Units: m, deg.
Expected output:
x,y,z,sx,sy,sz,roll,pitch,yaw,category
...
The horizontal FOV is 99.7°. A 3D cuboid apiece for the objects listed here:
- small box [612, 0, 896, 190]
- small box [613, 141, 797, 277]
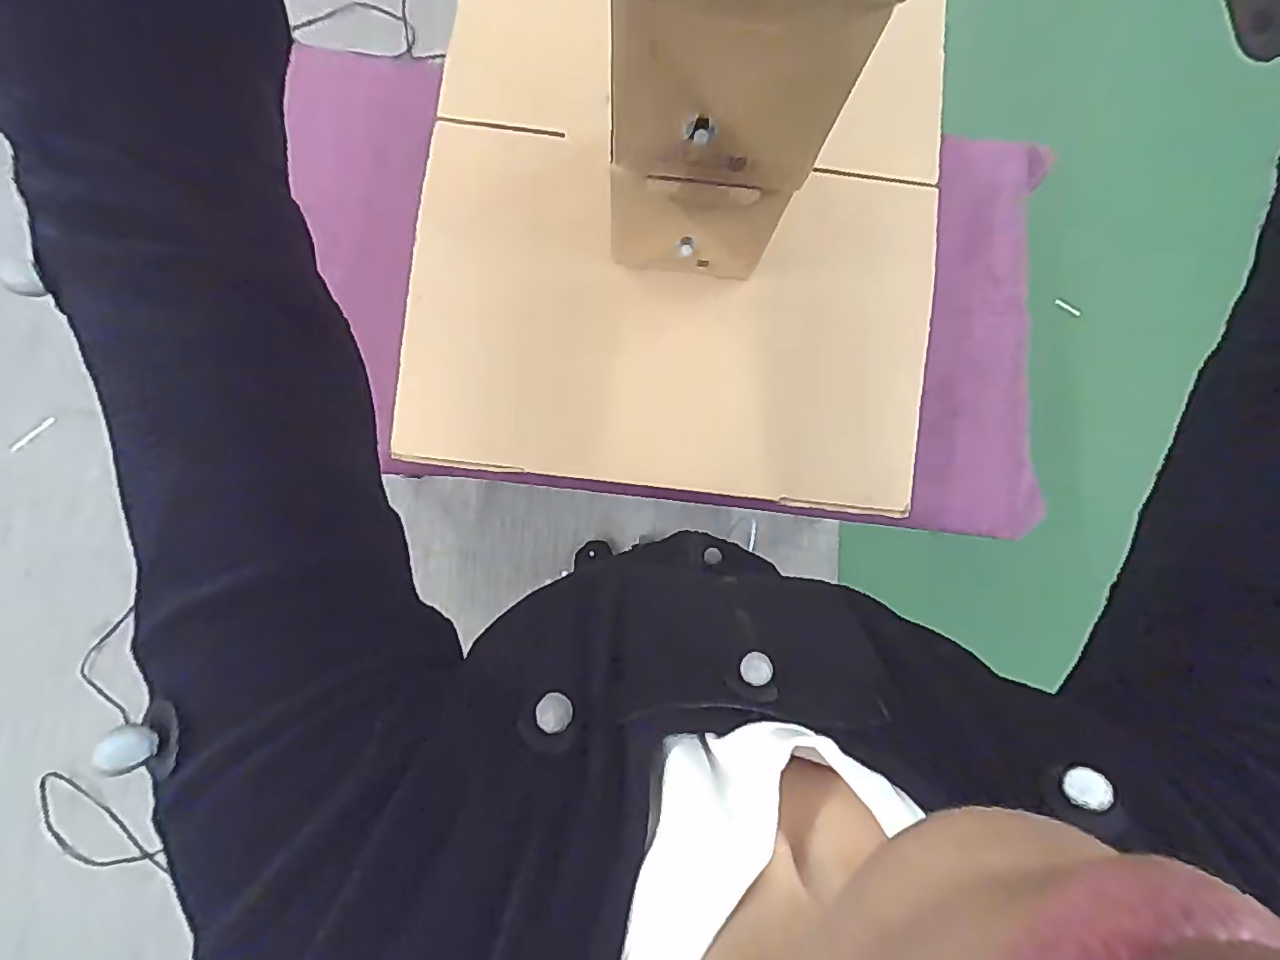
x,y,z,sx,sy,sz,roll,pitch,yaw,category
0.069,-0.353,0.396,0.168,0.176,0.179,5,83,-2,small box
0.063,-0.340,0.558,0.168,0.176,0.179,7,83,-1,small box
